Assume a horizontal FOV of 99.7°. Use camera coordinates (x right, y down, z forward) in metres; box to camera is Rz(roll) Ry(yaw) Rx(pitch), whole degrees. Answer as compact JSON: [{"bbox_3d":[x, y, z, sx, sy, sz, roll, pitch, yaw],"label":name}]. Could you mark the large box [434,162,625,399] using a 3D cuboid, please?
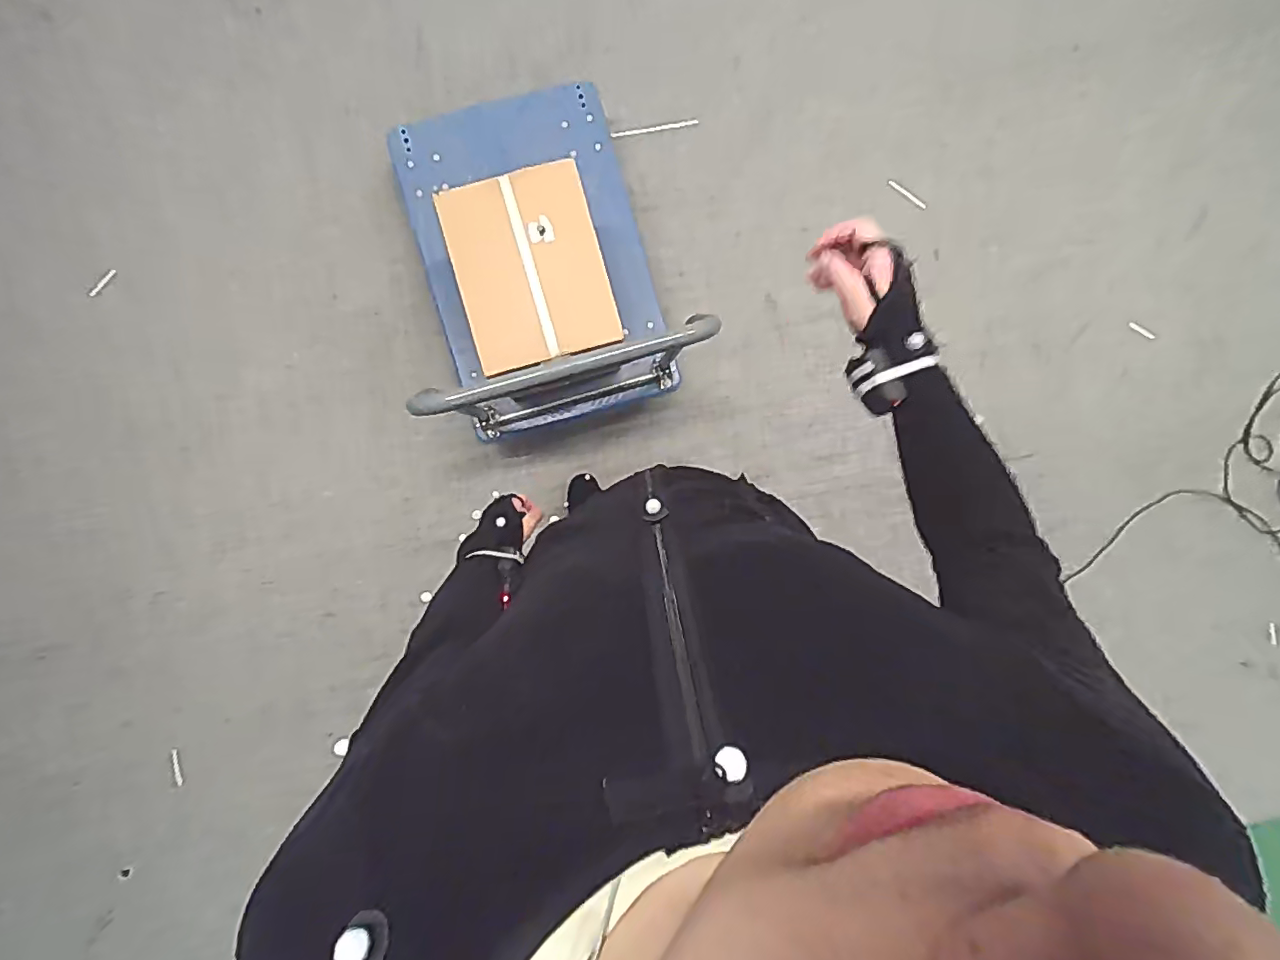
[{"bbox_3d":[-0.239,-0.449,1.299,0.320,0.320,0.408,-17,90,-4],"label":"large box"}]
